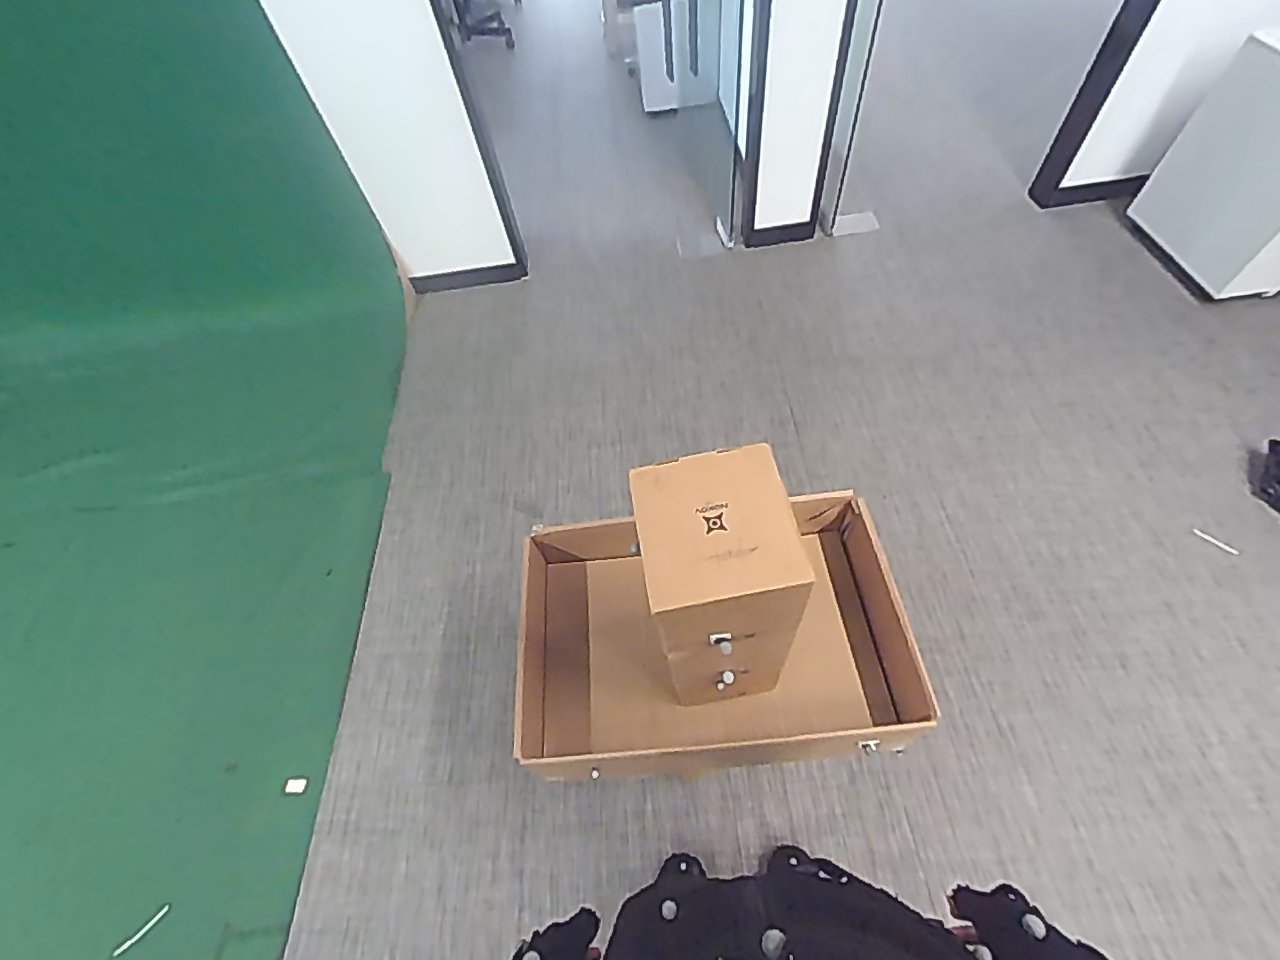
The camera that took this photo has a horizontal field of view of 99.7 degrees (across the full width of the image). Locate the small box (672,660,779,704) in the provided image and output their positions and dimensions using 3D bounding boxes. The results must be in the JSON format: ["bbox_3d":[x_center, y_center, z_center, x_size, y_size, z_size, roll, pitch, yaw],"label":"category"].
[{"bbox_3d":[0.127,0.260,0.918,0.168,0.176,0.179,-12,55,2],"label":"small box"}]

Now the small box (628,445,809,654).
[{"bbox_3d":[0.086,0.087,0.646,0.168,0.176,0.179,-12,57,2],"label":"small box"}]

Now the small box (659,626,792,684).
[{"bbox_3d":[0.105,0.175,0.780,0.168,0.176,0.179,-11,56,1],"label":"small box"}]
